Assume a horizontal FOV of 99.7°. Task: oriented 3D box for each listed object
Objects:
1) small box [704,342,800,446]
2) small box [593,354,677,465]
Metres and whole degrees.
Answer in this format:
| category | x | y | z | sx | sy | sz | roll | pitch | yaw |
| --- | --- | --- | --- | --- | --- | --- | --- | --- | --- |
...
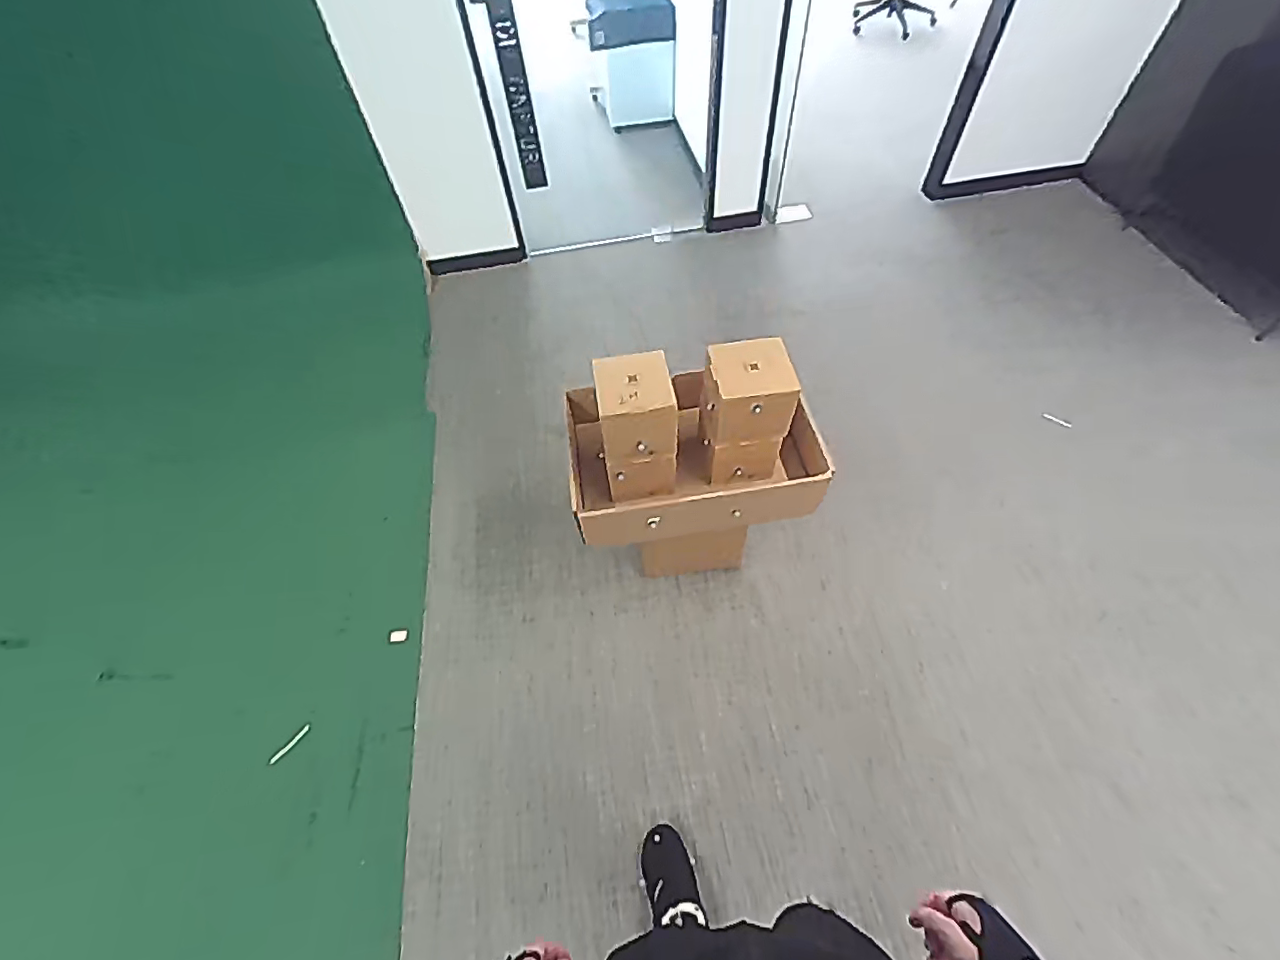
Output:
| category | x | y | z | sx | sy | sz | roll | pitch | yaw |
| --- | --- | --- | --- | --- | --- | --- | --- | --- | --- |
| small box | 0.246 | -0.192 | 1.246 | 0.179 | 0.176 | 0.168 | -6 | 57 | -3 |
| small box | -0.013 | -0.159 | 1.229 | 0.168 | 0.176 | 0.179 | -8 | 55 | -3 |
